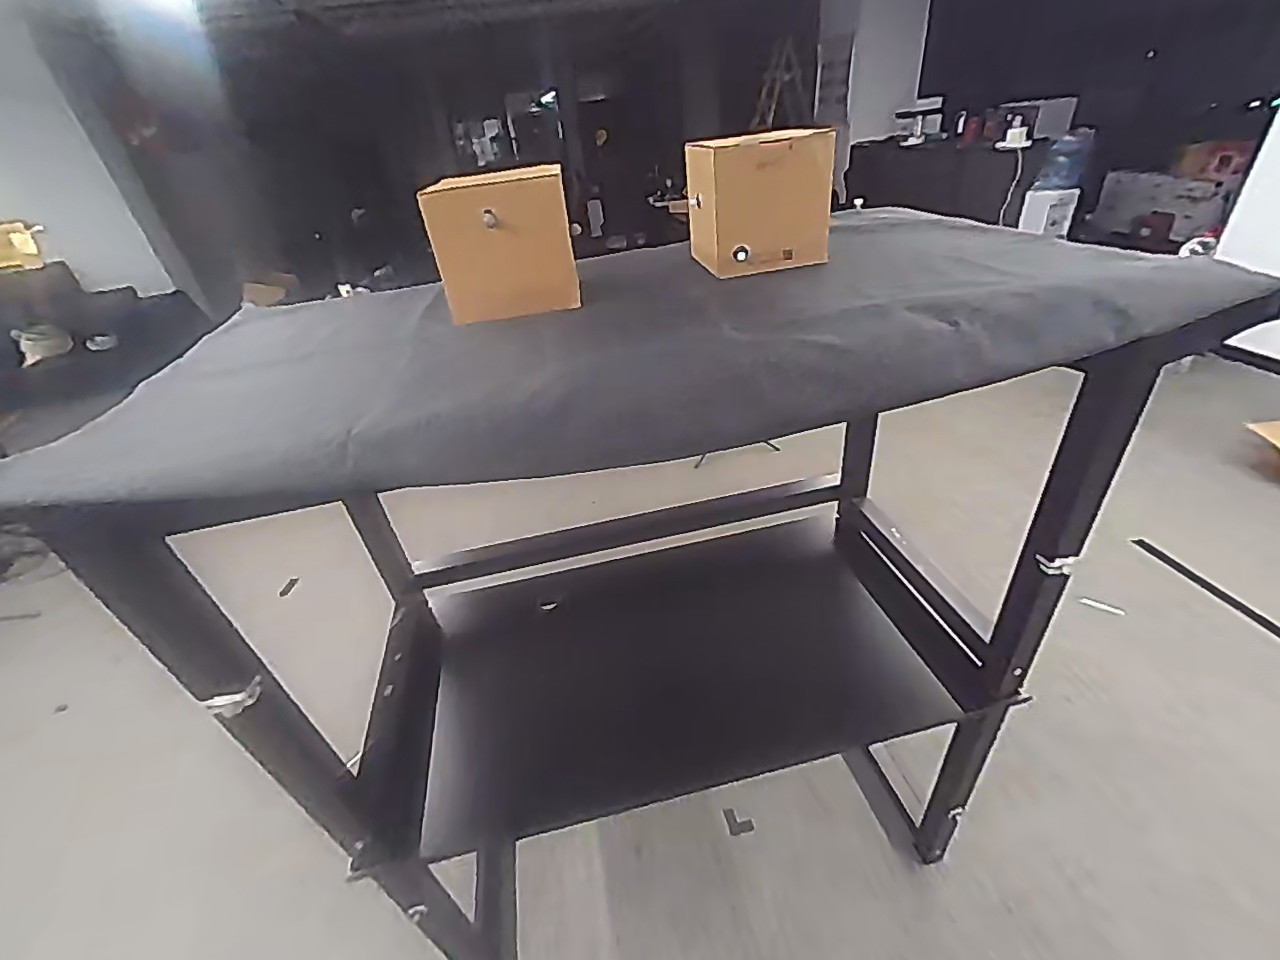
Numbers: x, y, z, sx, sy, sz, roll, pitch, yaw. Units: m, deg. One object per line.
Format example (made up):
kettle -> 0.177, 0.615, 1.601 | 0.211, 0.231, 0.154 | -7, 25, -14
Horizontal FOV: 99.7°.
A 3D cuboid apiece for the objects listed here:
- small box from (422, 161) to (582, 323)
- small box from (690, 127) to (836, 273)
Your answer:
small box -> -0.177, -0.336, 0.762 | 0.179, 0.176, 0.168 | -9, 34, -1
small box -> 0.176, -0.418, 0.812 | 0.168, 0.176, 0.179 | -10, 33, -3
